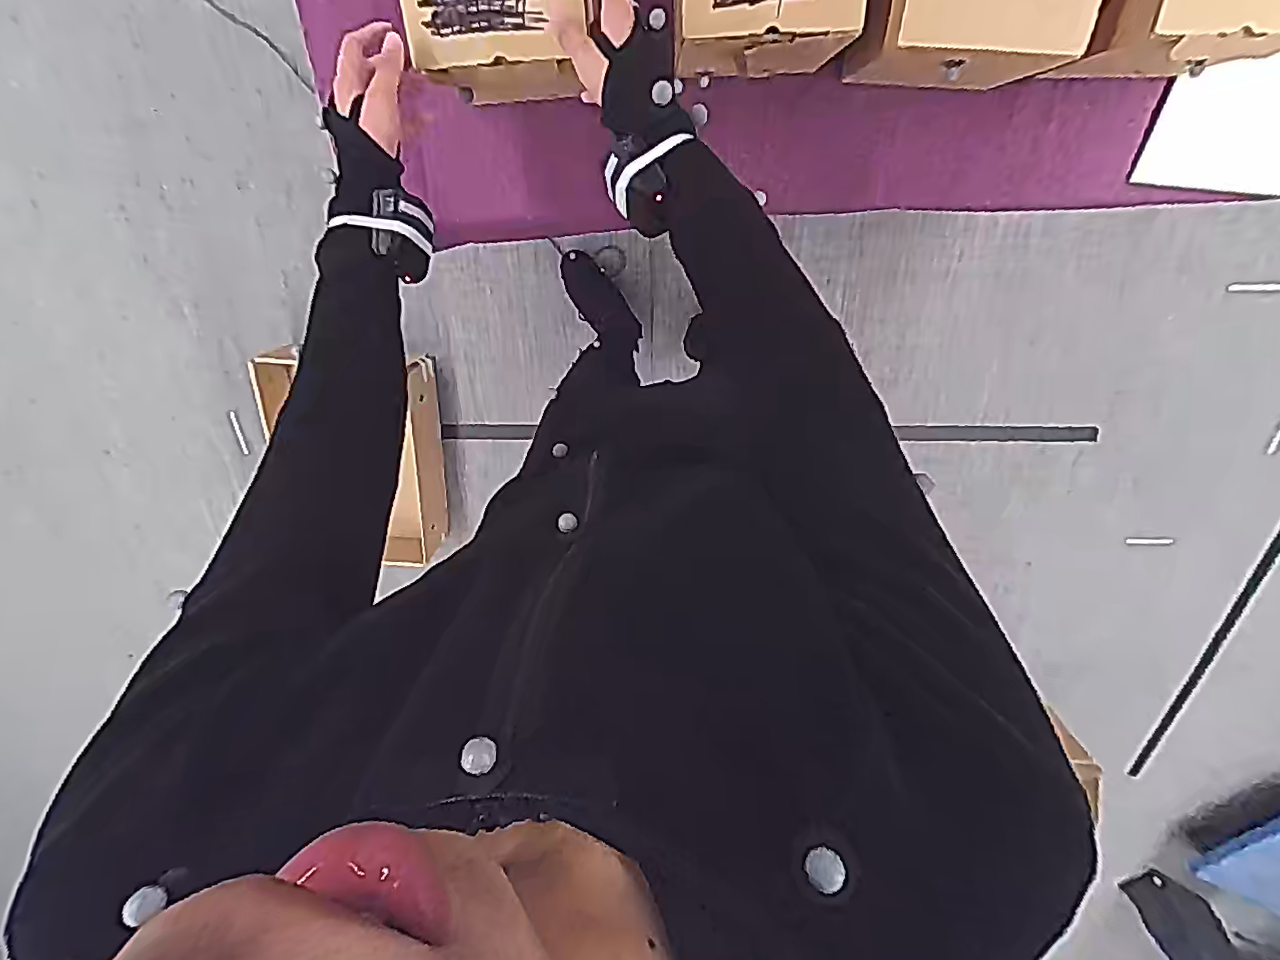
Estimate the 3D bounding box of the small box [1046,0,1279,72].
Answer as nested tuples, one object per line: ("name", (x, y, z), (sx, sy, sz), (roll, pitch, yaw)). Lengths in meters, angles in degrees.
("small box", (0.537, -0.510, 0.514), (0.168, 0.176, 0.179), (0, 116, 0))
